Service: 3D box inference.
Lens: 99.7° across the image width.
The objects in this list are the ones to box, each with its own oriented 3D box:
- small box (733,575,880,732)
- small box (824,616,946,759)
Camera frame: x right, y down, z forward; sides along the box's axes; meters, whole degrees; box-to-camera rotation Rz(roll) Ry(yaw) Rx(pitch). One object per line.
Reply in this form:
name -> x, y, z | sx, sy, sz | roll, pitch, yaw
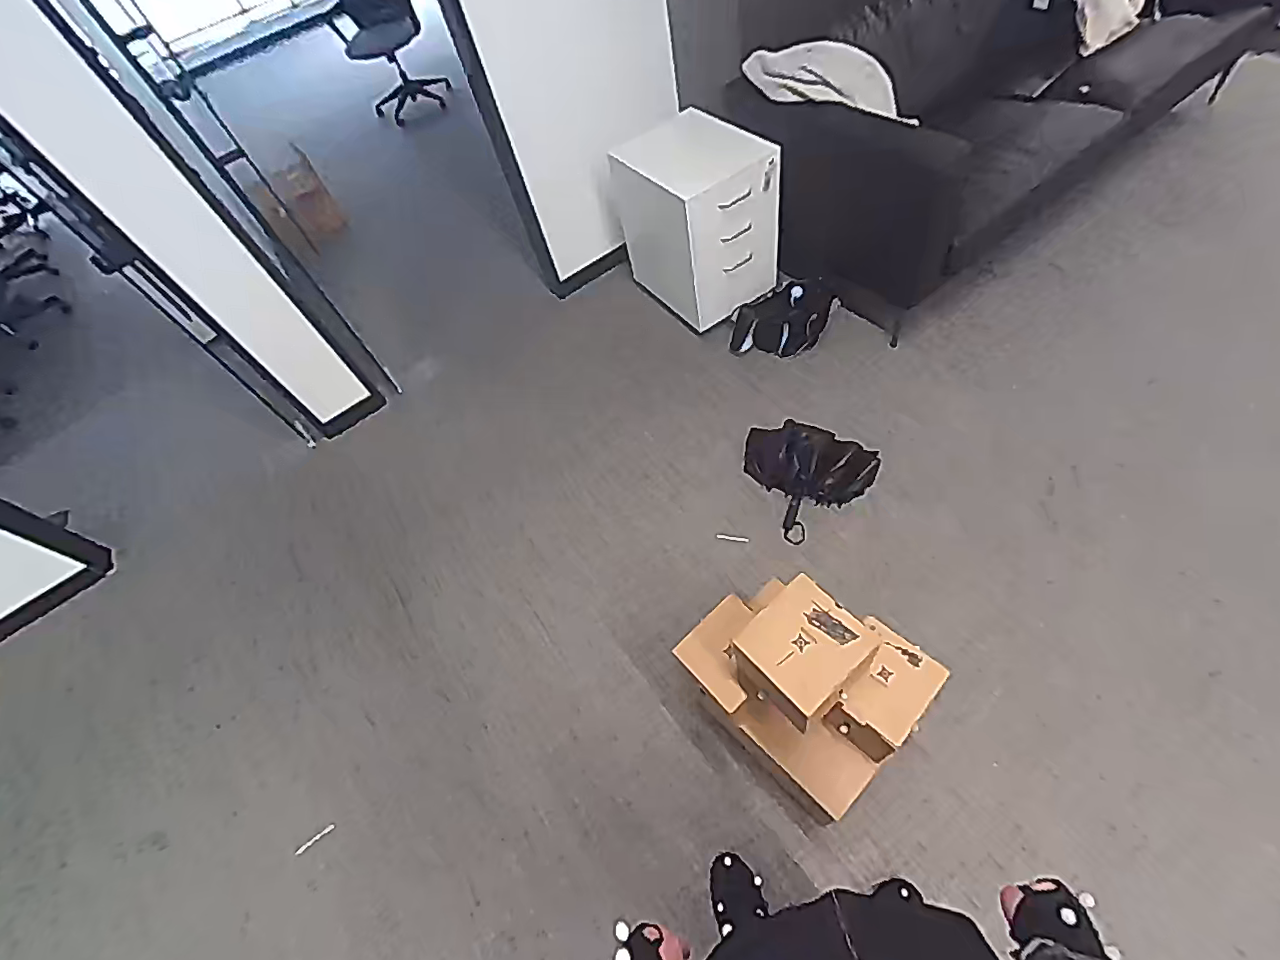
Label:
small box -> 0.283, 0.305, 0.942 | 0.179, 0.176, 0.168 | -40, 56, -12
small box -> 0.447, 0.404, 1.039 | 0.179, 0.176, 0.168 | -43, 57, -17
